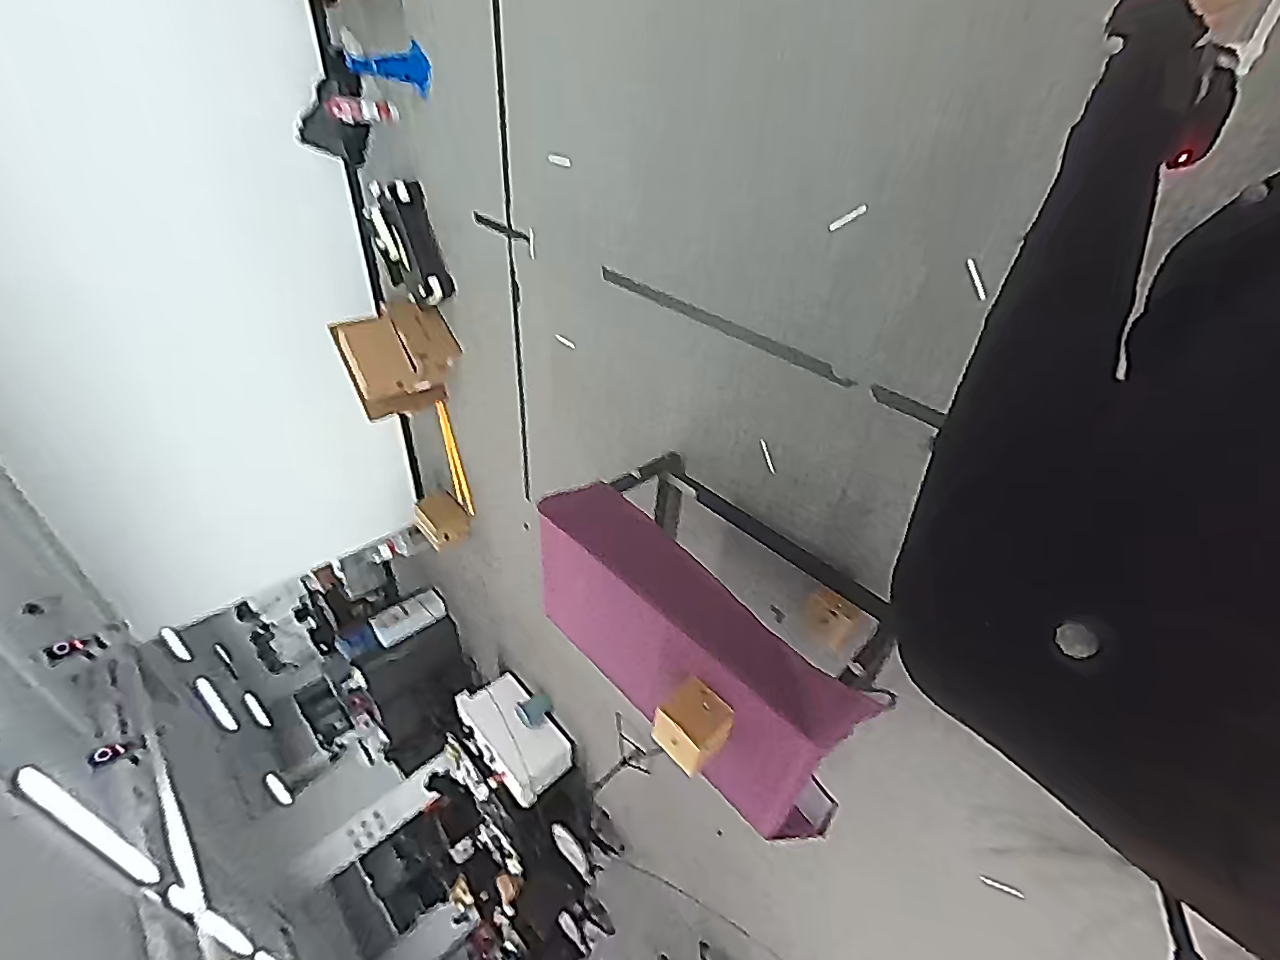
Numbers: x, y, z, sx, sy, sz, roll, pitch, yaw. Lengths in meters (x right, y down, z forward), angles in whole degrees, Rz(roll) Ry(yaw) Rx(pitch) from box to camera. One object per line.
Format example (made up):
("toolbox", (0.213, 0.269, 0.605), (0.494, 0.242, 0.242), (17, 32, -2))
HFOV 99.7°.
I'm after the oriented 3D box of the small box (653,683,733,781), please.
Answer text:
("small box", (0.161, 0.761, 1.643), (0.168, 0.176, 0.179), (34, 135, 33))
